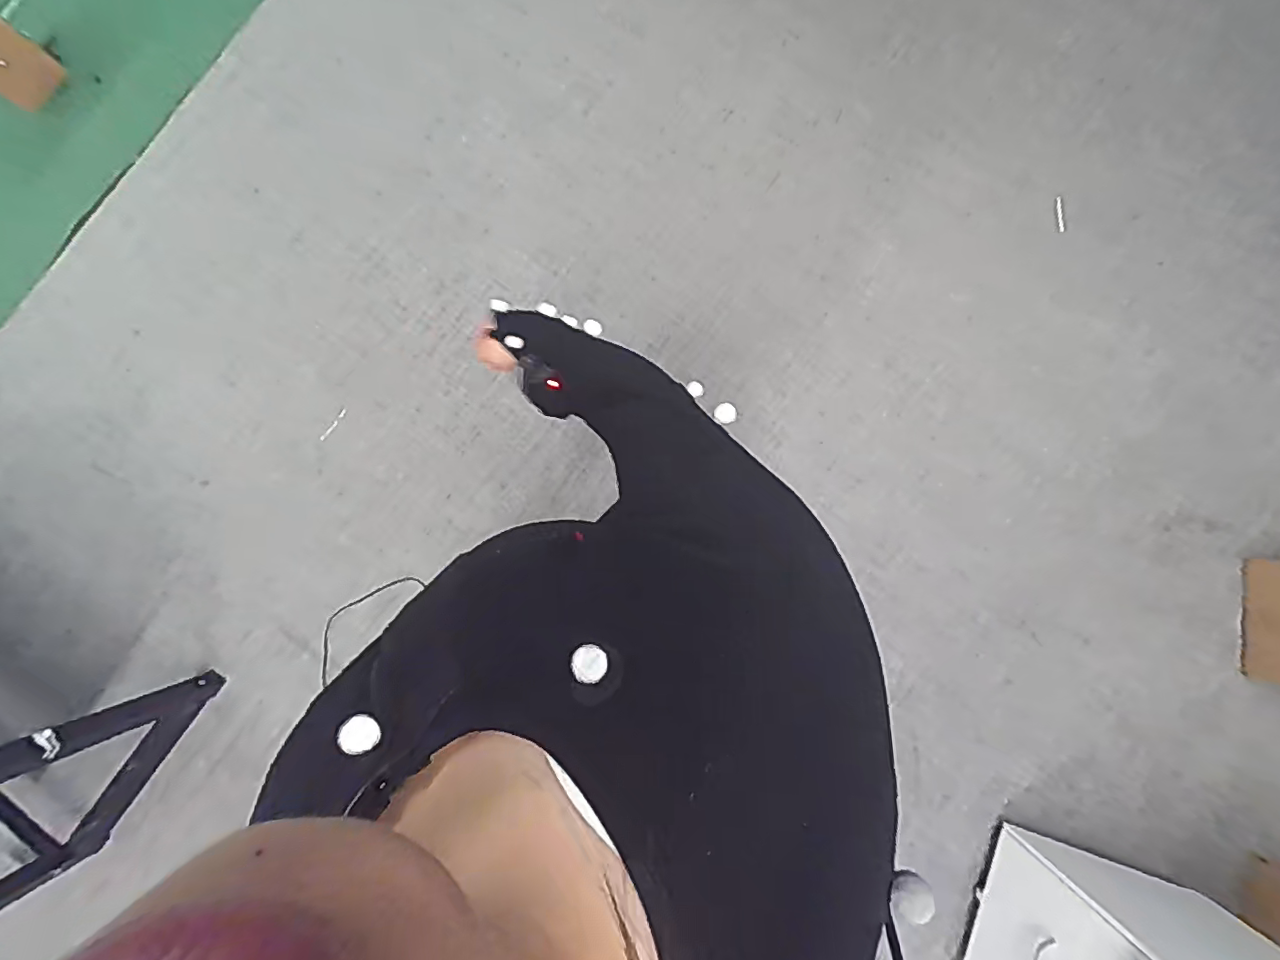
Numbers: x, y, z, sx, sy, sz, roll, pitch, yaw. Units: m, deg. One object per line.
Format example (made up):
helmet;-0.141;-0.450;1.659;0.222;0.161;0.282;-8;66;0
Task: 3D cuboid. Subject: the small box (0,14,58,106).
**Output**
small box;-1.855;-1.240;1.555;0.168;0.176;0.179;41;89;3
